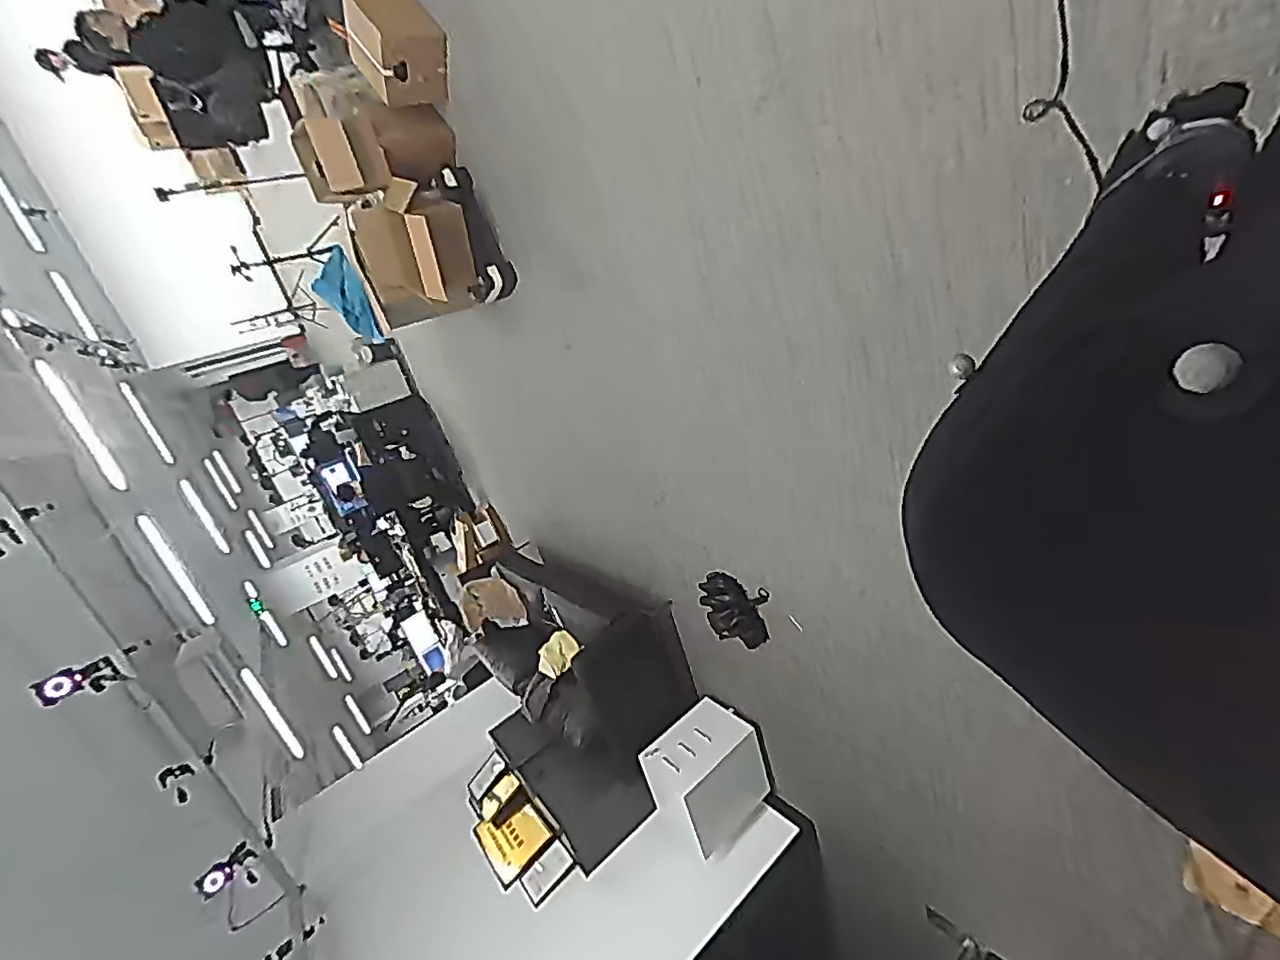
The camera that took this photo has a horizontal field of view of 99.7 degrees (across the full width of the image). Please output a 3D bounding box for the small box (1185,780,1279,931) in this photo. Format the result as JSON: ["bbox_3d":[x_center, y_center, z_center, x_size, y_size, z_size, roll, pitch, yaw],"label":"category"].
[{"bbox_3d":[1.292,0.789,1.142,0.168,0.176,0.179,10,122,52],"label":"small box"}]
